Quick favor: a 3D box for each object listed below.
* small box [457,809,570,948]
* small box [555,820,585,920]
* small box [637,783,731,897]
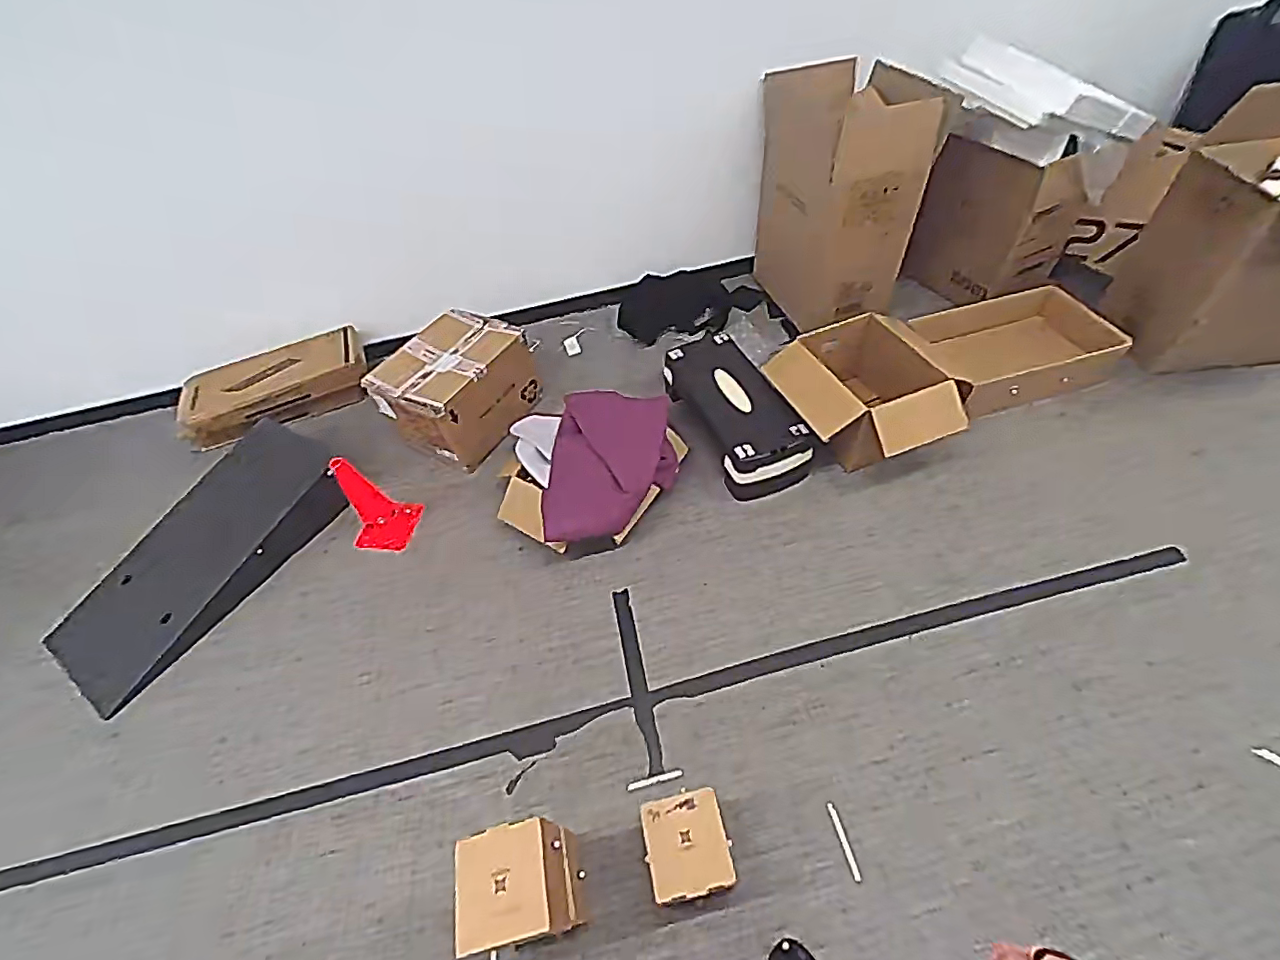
[{"bbox_3d":[-0.241,0.764,1.040,0.168,0.176,0.179,-15,52,-2],"label":"small box"},{"bbox_3d":[-0.222,0.861,1.169,0.179,0.176,0.168,-15,50,-4],"label":"small box"},{"bbox_3d":[0.097,0.789,1.184,0.168,0.176,0.179,-13,52,-2],"label":"small box"}]
